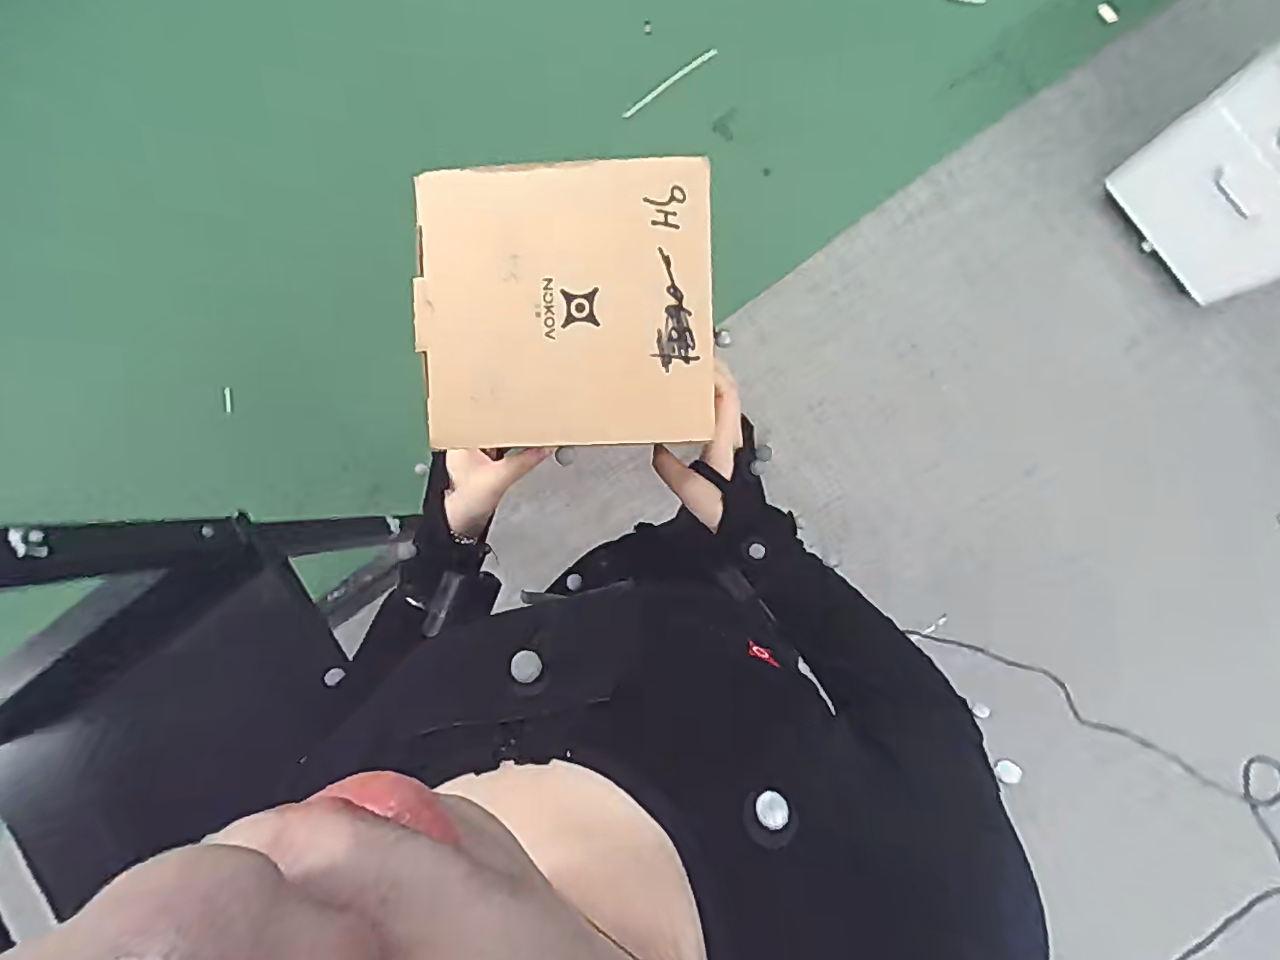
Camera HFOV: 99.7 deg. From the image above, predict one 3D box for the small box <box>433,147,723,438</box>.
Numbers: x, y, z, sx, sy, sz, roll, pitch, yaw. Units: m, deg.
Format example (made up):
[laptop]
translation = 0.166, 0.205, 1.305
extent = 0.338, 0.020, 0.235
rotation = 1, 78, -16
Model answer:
[small box]
translation = -0.034, -0.117, 0.404
extent = 0.179, 0.176, 0.168
rotation = 0, 93, 2
